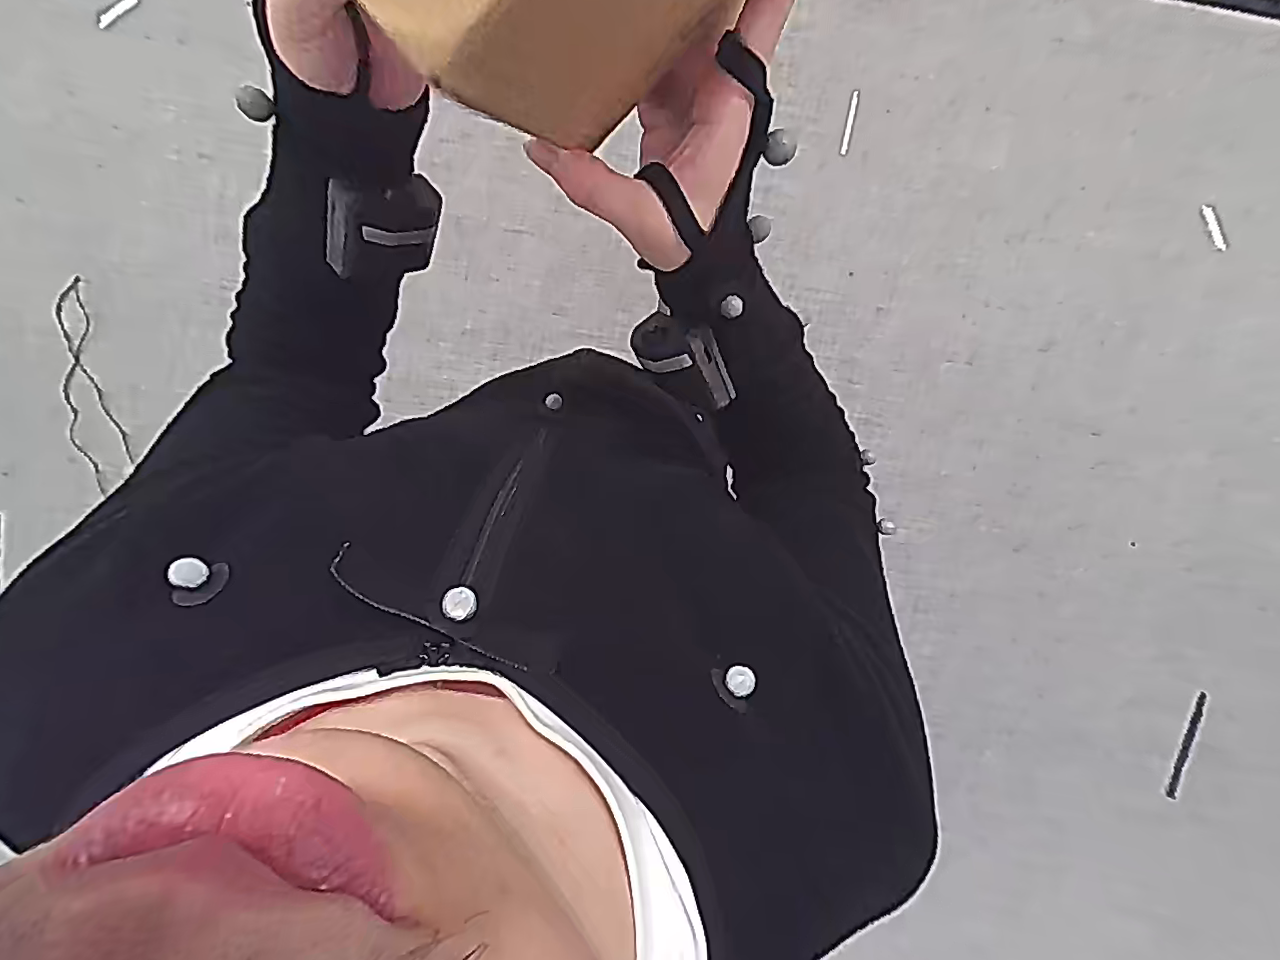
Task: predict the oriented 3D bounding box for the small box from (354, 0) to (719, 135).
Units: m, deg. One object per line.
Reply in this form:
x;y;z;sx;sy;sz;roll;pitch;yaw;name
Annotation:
-0.032;-0.229;0.148;0.168;0.176;0.179;-37;107;22;small box
